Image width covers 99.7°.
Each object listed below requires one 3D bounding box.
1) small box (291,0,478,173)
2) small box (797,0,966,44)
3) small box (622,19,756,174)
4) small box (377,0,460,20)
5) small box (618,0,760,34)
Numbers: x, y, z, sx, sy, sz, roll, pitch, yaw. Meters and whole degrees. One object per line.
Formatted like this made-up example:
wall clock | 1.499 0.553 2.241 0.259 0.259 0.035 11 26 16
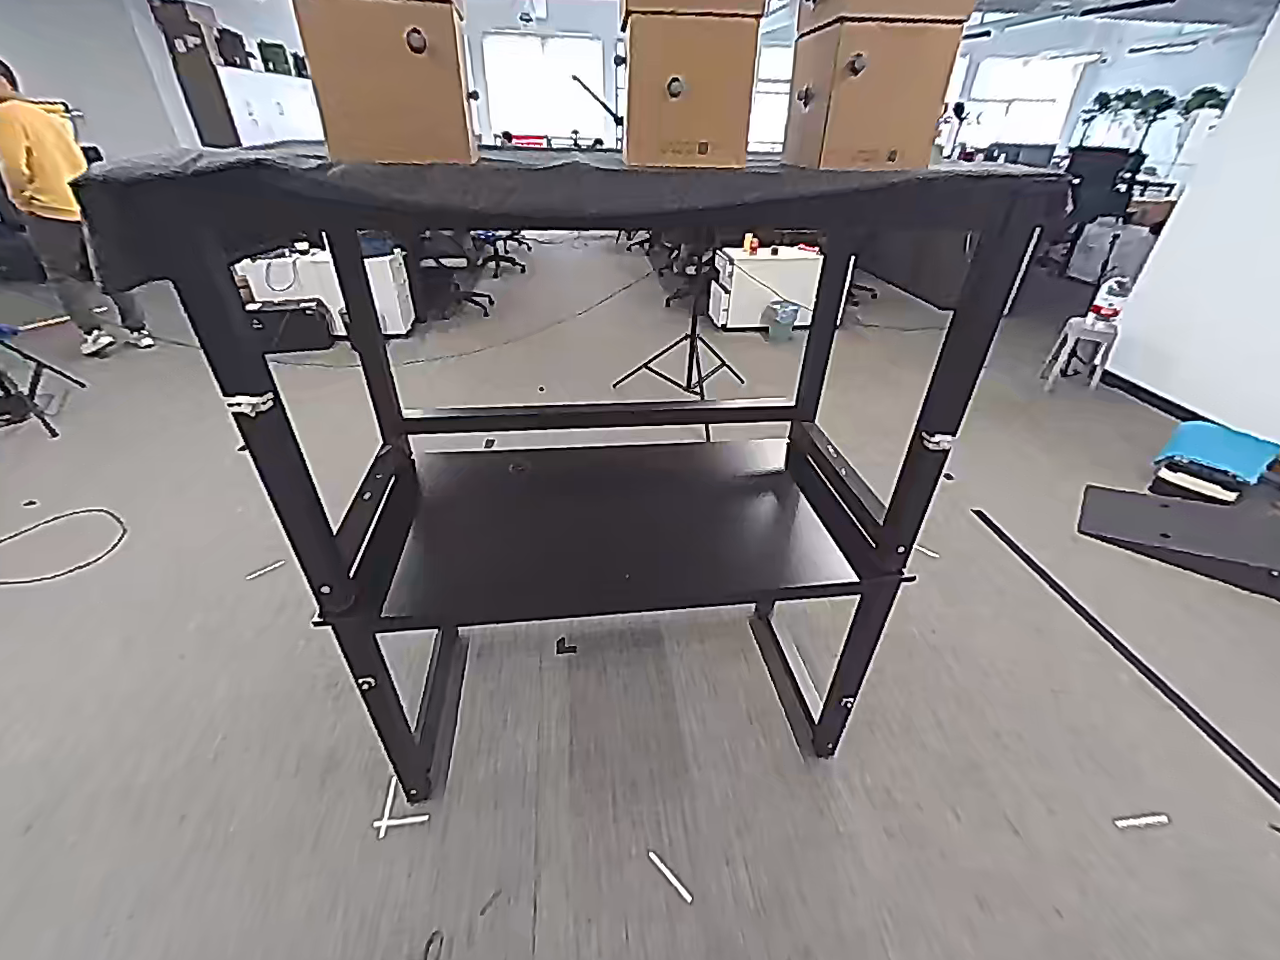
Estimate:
small box | -0.317 -0.510 0.717 0.179 0.176 0.168 -6 32 -10
small box | 0.322 -0.682 0.700 0.179 0.176 0.168 -4 31 -5
small box | 0.060 -0.542 0.781 0.168 0.176 0.179 -1 32 -4
small box | -0.312 -0.646 0.625 0.179 0.176 0.168 -4 32 -10
small box | 0.061 -0.676 0.684 0.179 0.176 0.168 -3 32 -3
